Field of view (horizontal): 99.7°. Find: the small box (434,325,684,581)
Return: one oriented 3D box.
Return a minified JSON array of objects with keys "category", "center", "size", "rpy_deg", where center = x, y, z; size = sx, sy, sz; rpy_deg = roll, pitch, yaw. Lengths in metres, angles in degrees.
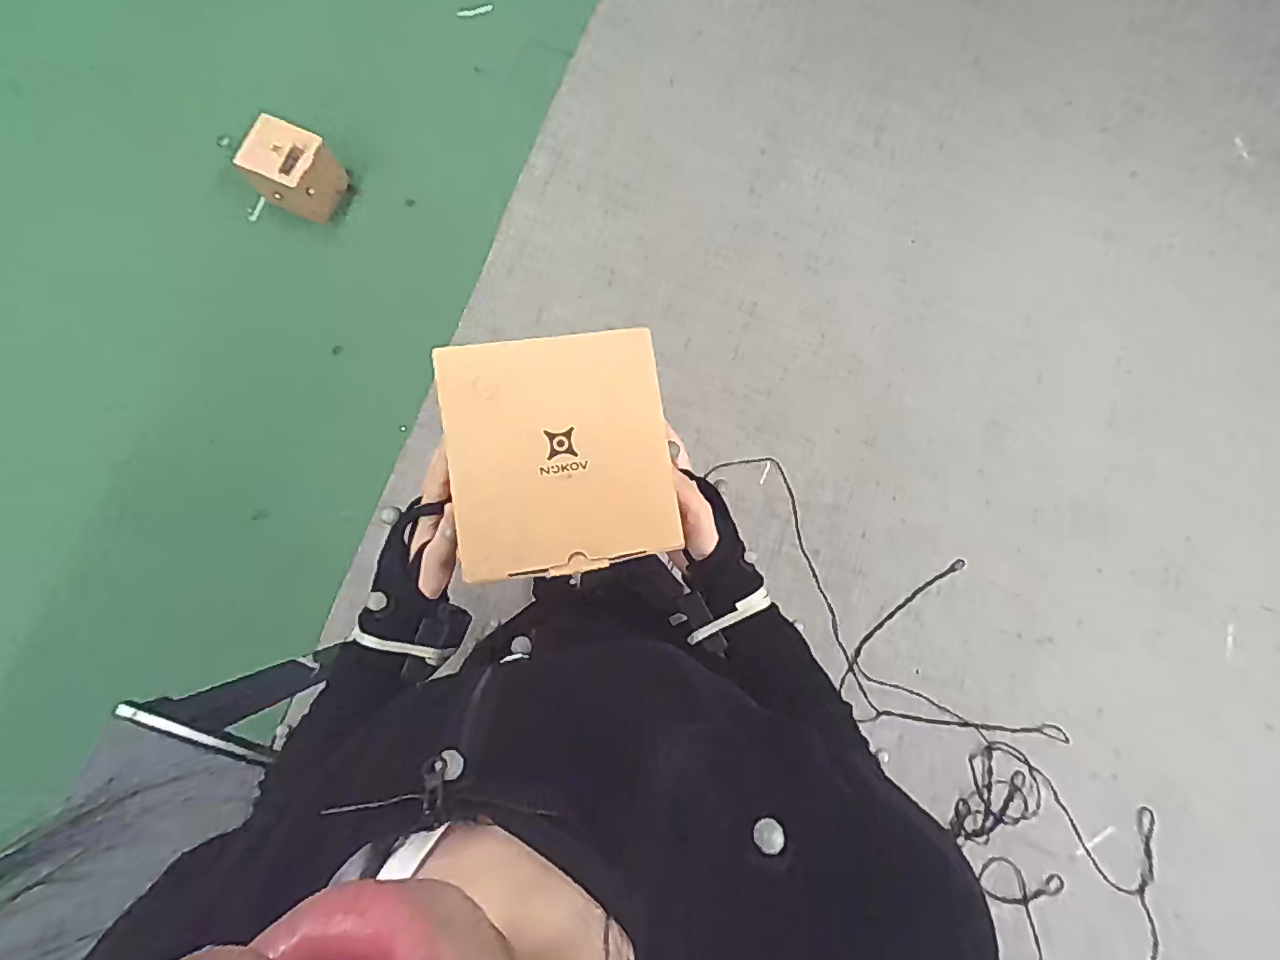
[{"category":"small box","center":[-0.071,-0.016,0.474],"size":[0.168,0.176,0.179],"rpy_deg":[-8,86,-10]}]
